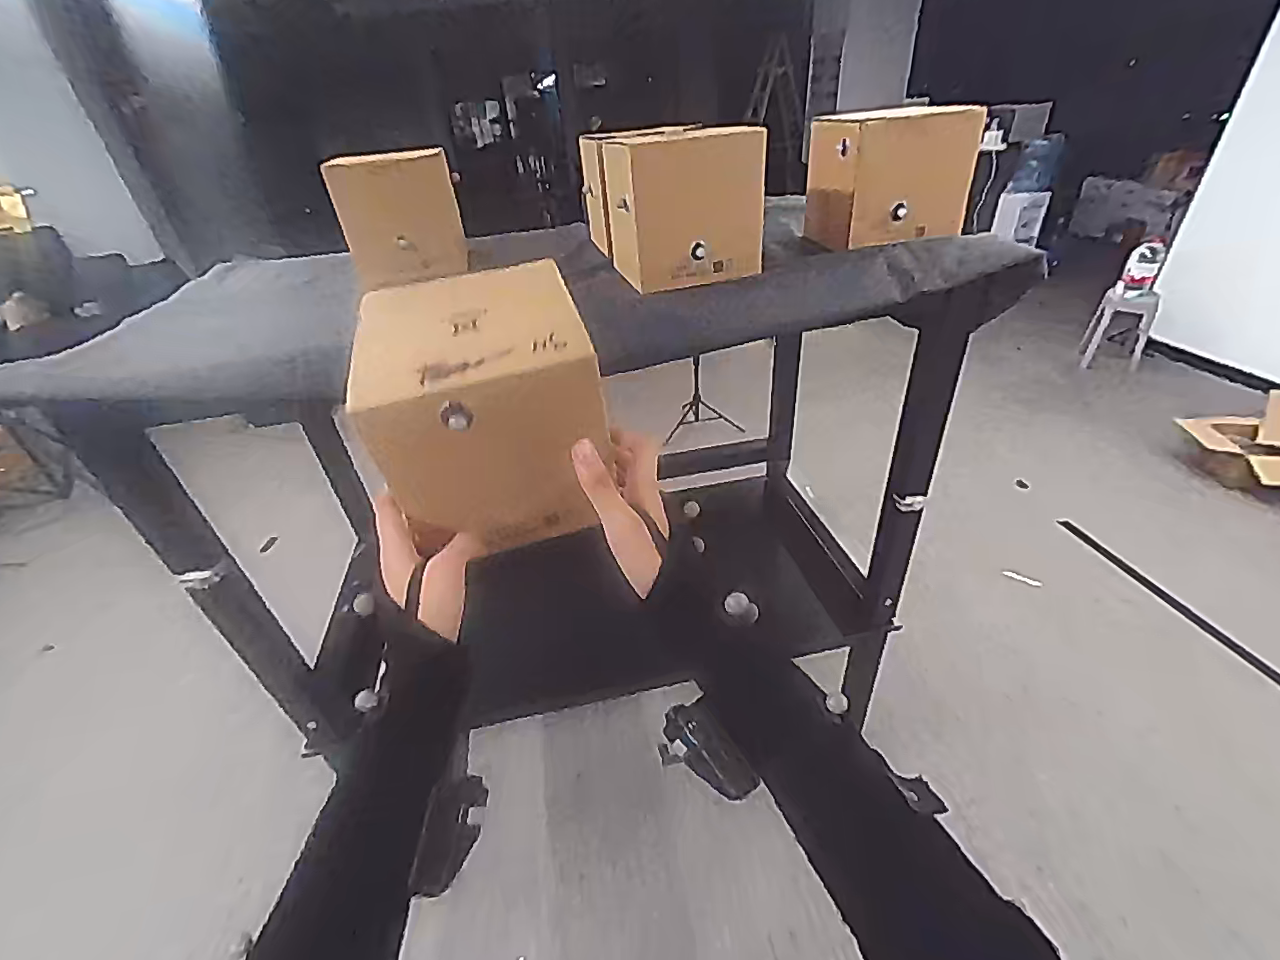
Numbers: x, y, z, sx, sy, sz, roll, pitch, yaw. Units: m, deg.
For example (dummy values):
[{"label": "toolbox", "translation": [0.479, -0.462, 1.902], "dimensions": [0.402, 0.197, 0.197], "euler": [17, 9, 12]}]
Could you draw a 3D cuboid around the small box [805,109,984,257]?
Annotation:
[{"label": "small box", "translation": [0.355, -0.437, 0.797], "dimensions": [0.168, 0.176, 0.179], "euler": [-8, 35, -2]}]

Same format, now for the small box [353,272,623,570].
[{"label": "small box", "translation": [-0.119, -0.053, 0.468], "dimensions": [0.168, 0.176, 0.179], "euler": [-15, 44, -8]}]

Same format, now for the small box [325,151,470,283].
[{"label": "small box", "translation": [-0.387, -0.437, 0.897], "dimensions": [0.168, 0.176, 0.179], "euler": [-12, 36, -9]}]

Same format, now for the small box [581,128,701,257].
[{"label": "small box", "translation": [0.002, -0.482, 0.911], "dimensions": [0.168, 0.176, 0.179], "euler": [-11, 34, -9]}]
